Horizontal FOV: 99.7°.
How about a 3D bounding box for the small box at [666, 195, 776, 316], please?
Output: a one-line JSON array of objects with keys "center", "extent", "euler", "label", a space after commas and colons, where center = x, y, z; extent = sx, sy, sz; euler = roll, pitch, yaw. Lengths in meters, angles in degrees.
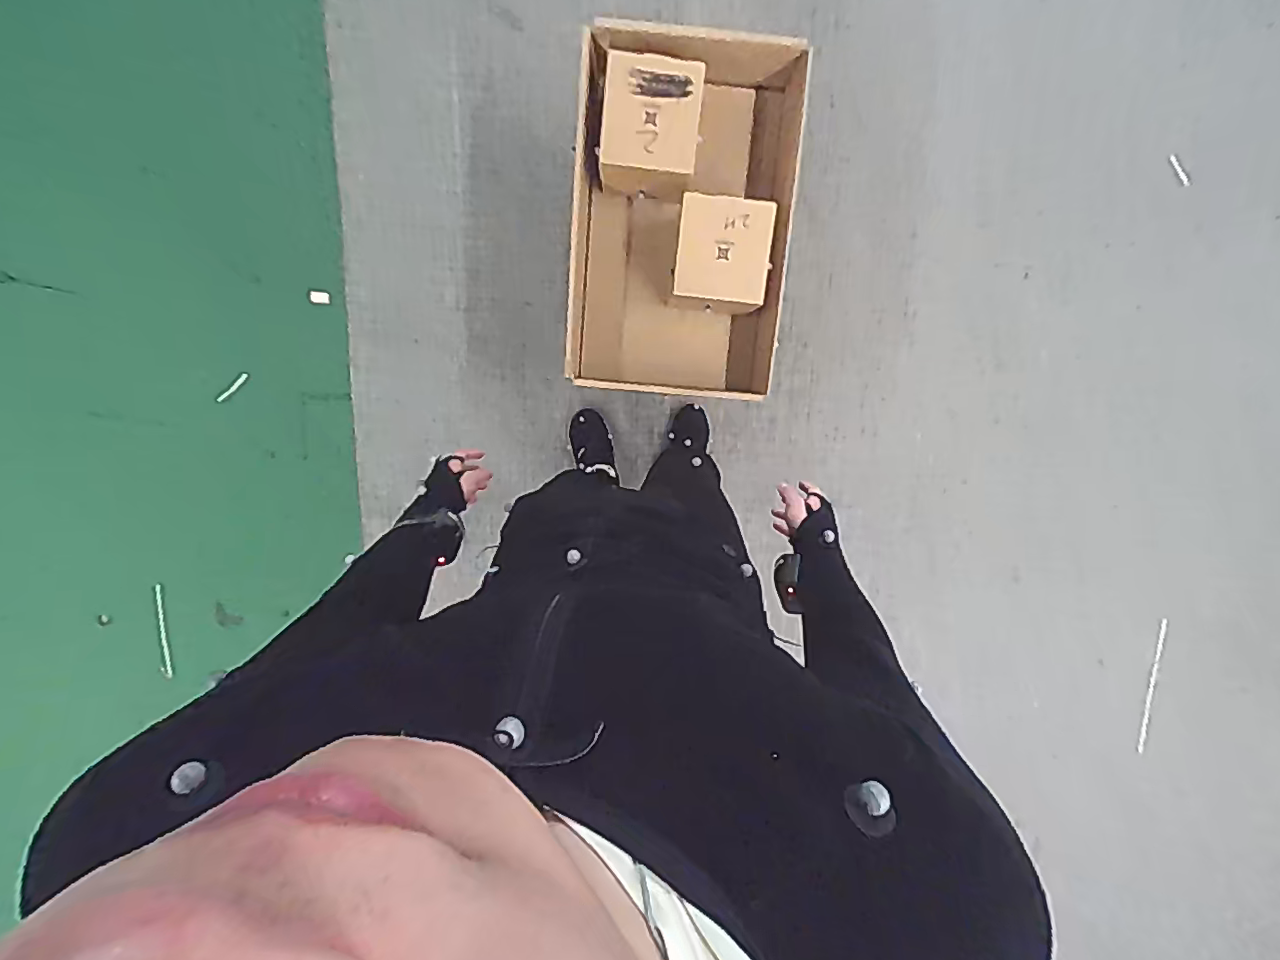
[{"center": [0.144, -0.414, 1.028], "extent": [0.168, 0.176, 0.179], "euler": [6, 101, -3], "label": "small box"}]
